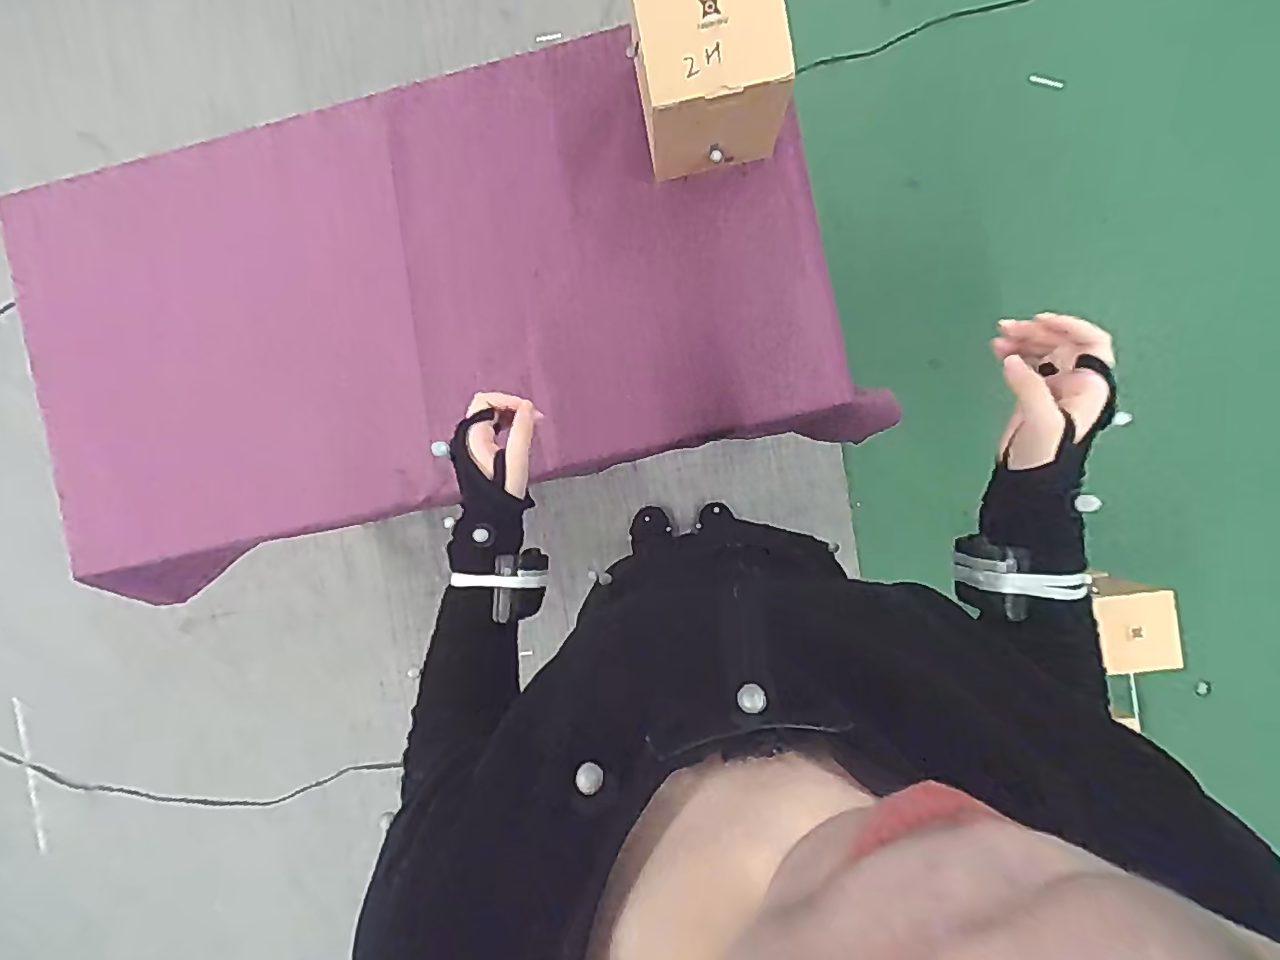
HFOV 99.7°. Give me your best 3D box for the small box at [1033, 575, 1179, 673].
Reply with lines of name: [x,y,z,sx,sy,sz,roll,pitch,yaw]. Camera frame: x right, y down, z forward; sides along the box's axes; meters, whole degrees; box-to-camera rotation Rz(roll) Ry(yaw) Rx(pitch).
small box: [1.026,0.312,1.204,0.179,0.176,0.168,-7,89,4]

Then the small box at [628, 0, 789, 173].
small box: [0.078,-0.530,0.685,0.168,0.176,0.179,-10,93,5]

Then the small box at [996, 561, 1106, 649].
small box: [1.039,0.310,1.366,0.168,0.176,0.179,-7,89,3]
